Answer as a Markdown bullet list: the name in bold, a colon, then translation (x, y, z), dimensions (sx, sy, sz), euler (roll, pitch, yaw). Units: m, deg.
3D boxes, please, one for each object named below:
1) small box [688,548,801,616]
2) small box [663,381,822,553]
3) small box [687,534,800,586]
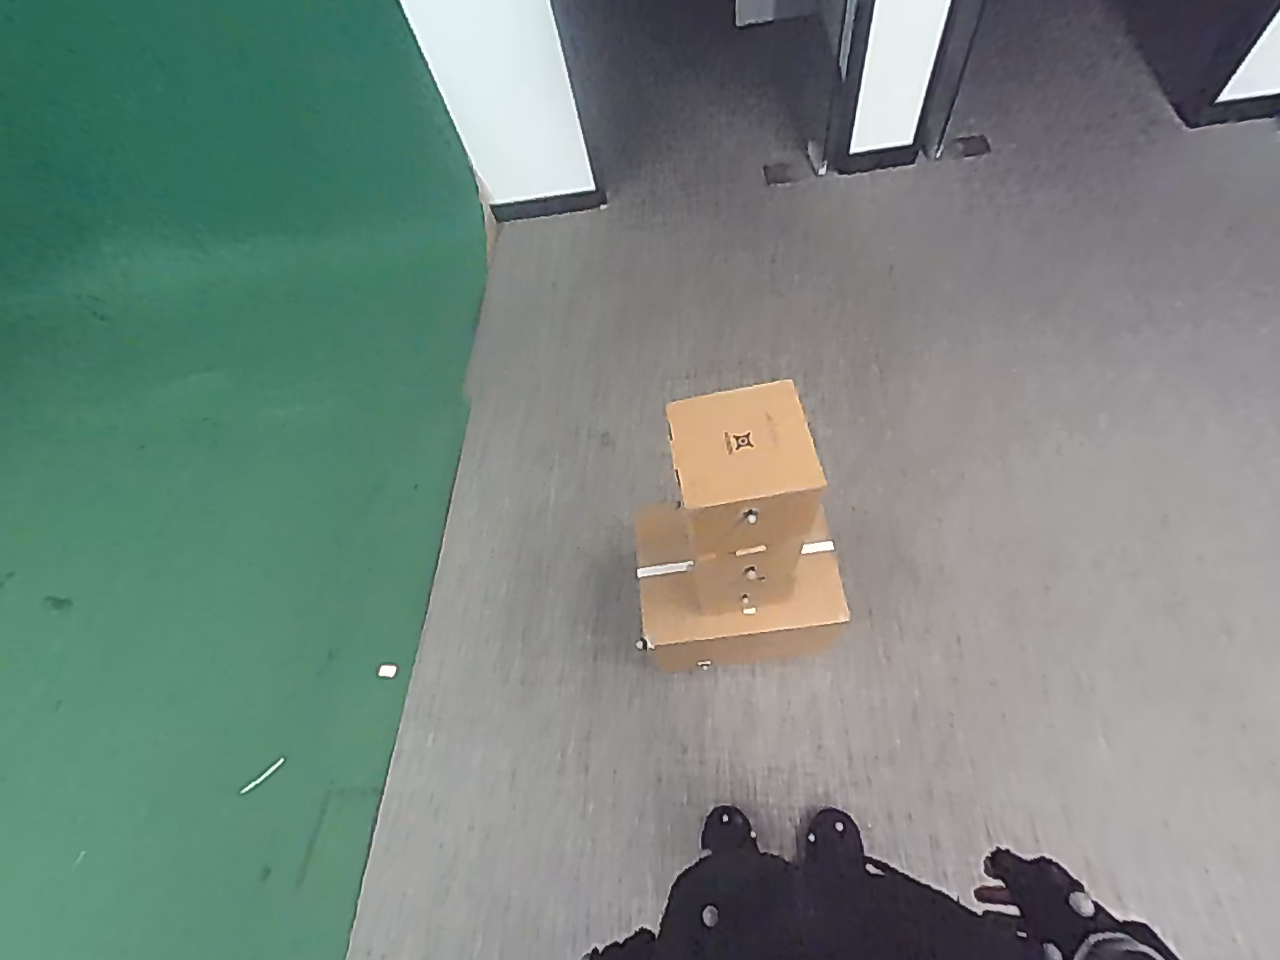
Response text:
- **small box**: translation (0.188, 0.147, 1.034), dimensions (0.179, 0.176, 0.168), euler (-13, 61, 2)
- **small box**: translation (0.136, -0.009, 0.753), dimensions (0.179, 0.176, 0.168), euler (-10, 62, 4)
- **small box**: translation (0.157, 0.066, 0.896), dimensions (0.168, 0.176, 0.179), euler (-11, 61, 4)
